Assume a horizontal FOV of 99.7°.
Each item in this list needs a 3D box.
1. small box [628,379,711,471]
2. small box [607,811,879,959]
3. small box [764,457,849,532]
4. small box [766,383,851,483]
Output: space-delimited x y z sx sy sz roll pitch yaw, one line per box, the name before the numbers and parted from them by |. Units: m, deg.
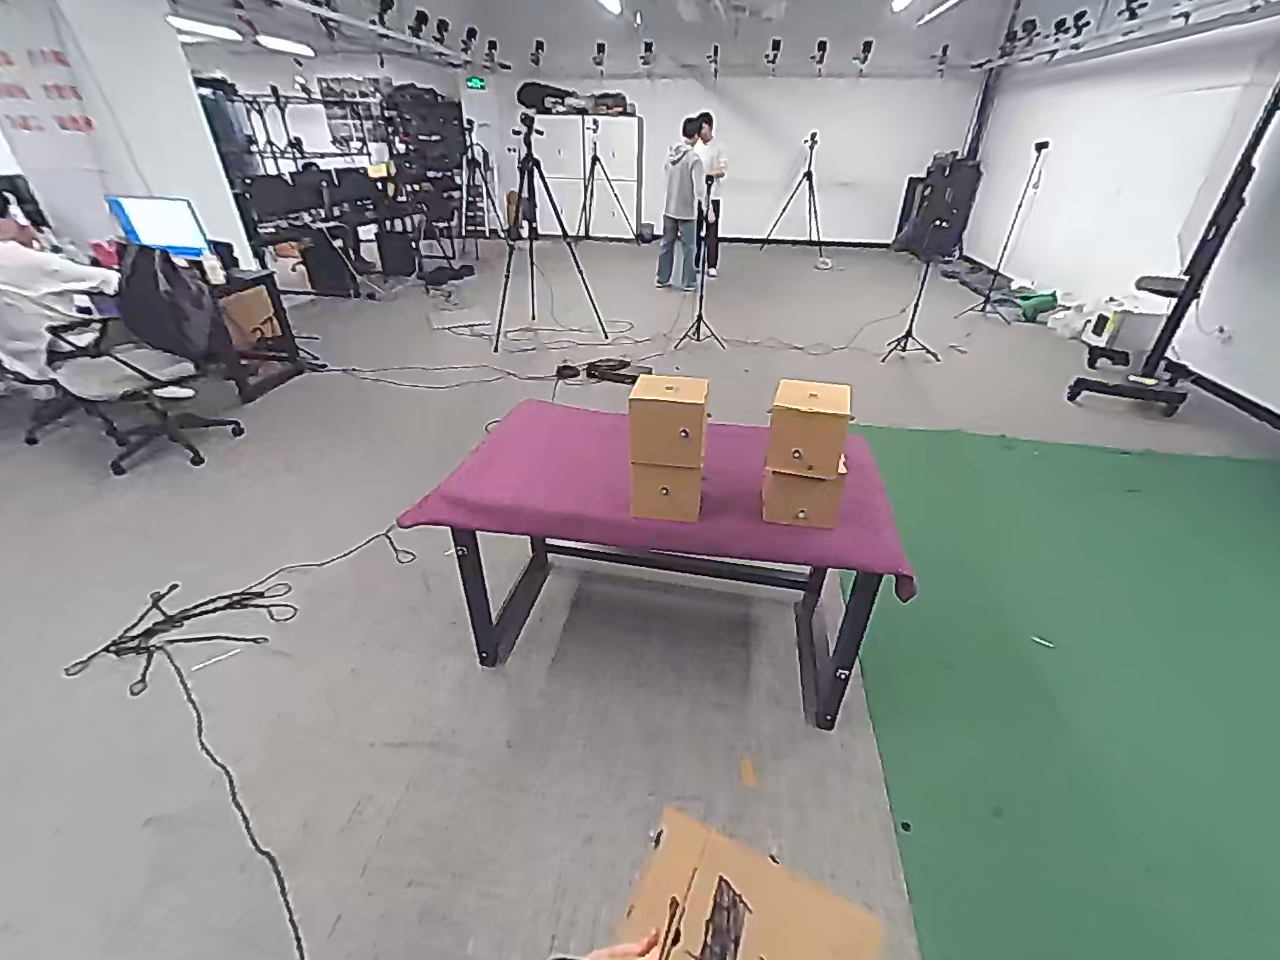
small box | 0.074 -0.135 1.314 0.179 0.176 0.168 5 30 10
small box | 0.082 0.436 0.506 0.179 0.176 0.168 27 63 1
small box | 0.417 0.017 1.383 0.179 0.176 0.168 5 30 9
small box | 0.400 -0.115 1.286 0.168 0.176 0.179 9 33 16
